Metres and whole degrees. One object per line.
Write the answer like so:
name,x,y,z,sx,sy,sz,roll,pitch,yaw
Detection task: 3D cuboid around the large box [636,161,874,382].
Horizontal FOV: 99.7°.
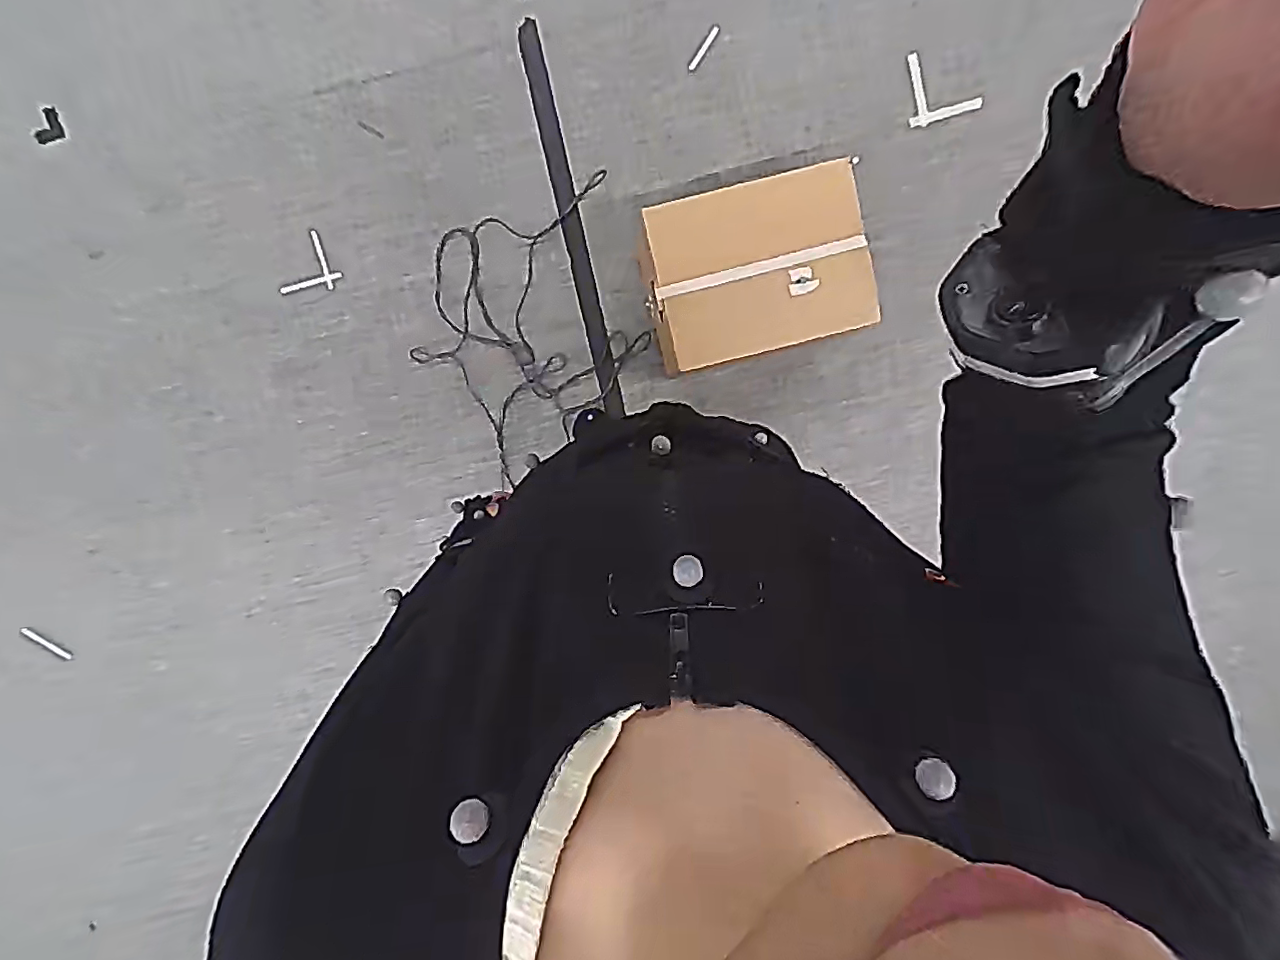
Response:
large box,0.223,-0.420,1.182,0.408,0.320,0.320,-15,98,0
